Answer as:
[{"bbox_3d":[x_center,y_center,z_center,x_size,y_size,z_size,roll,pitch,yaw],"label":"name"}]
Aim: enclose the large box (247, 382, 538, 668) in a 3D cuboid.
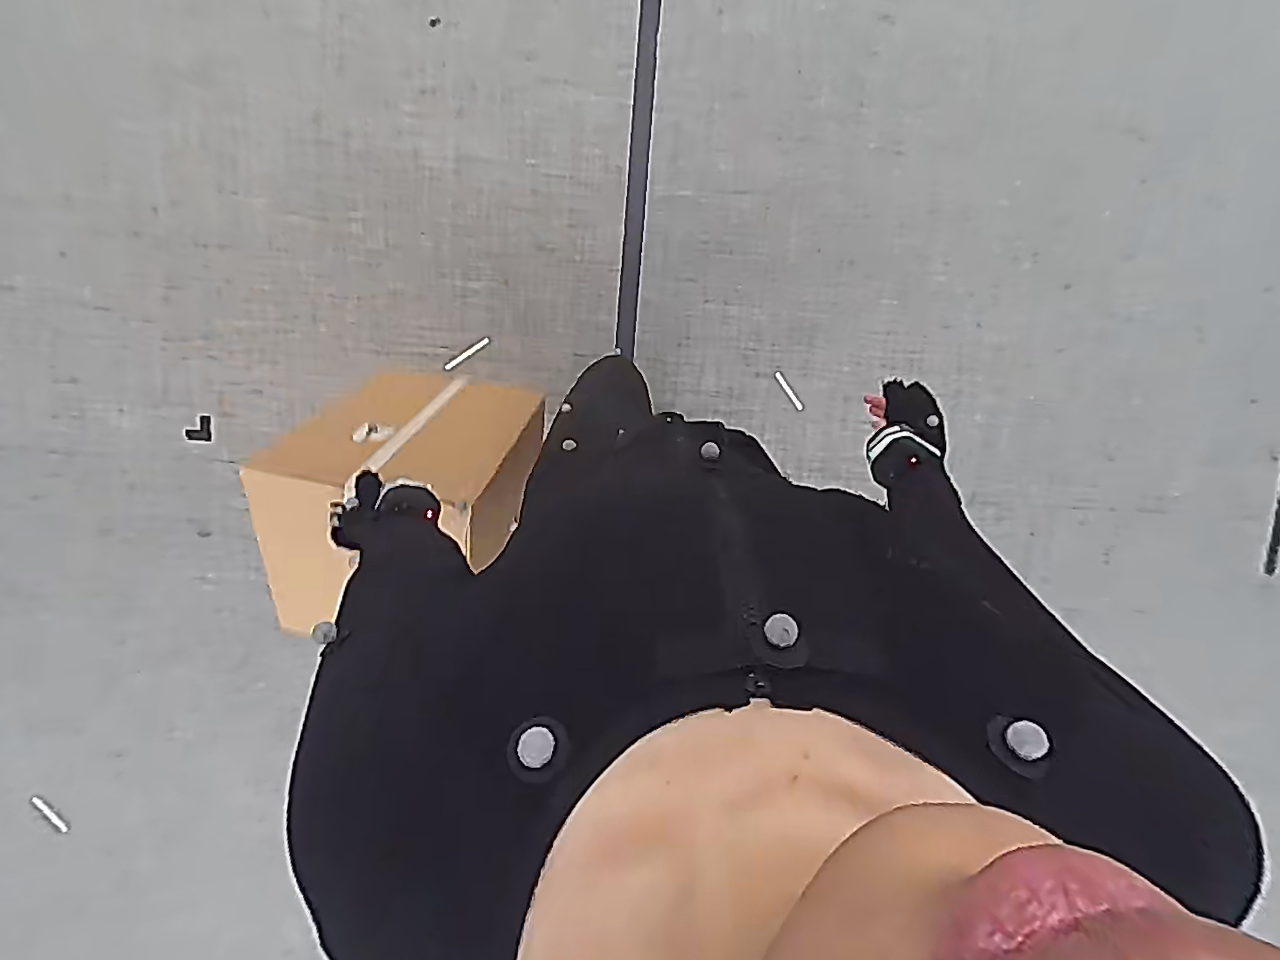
[{"bbox_3d":[-0.382,0.056,0.962,0.320,0.408,0.320,8,120,1],"label":"large box"}]
